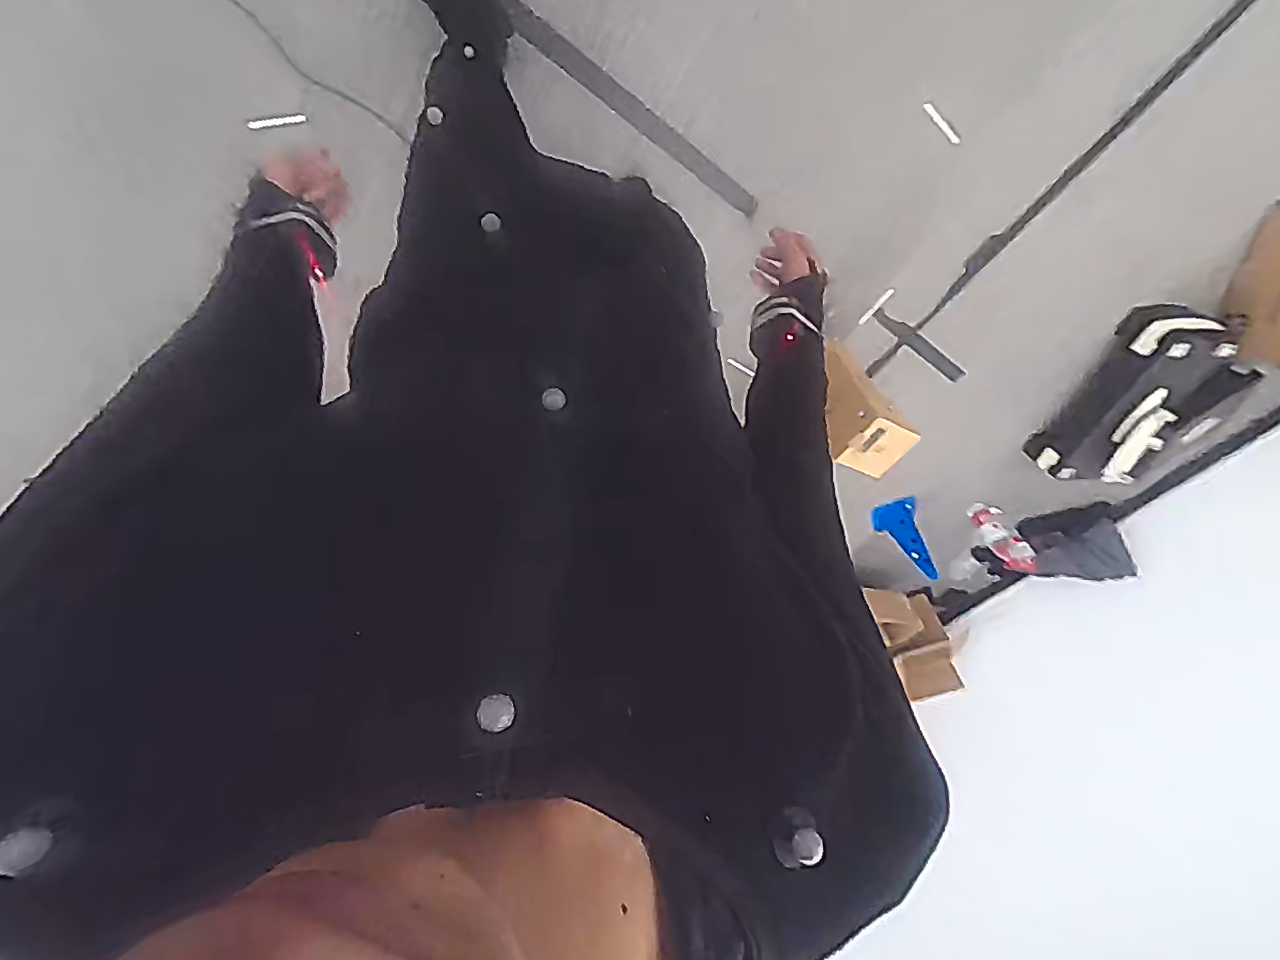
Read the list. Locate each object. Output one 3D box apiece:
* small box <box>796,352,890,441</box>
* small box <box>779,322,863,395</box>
[{"bbox_3d":[0.604,-0.253,1.625,0.179,0.176,0.168,24,126,-30],"label":"small box"},{"bbox_3d":[0.568,-0.369,1.734,0.168,0.176,0.179,19,128,-28],"label":"small box"}]
